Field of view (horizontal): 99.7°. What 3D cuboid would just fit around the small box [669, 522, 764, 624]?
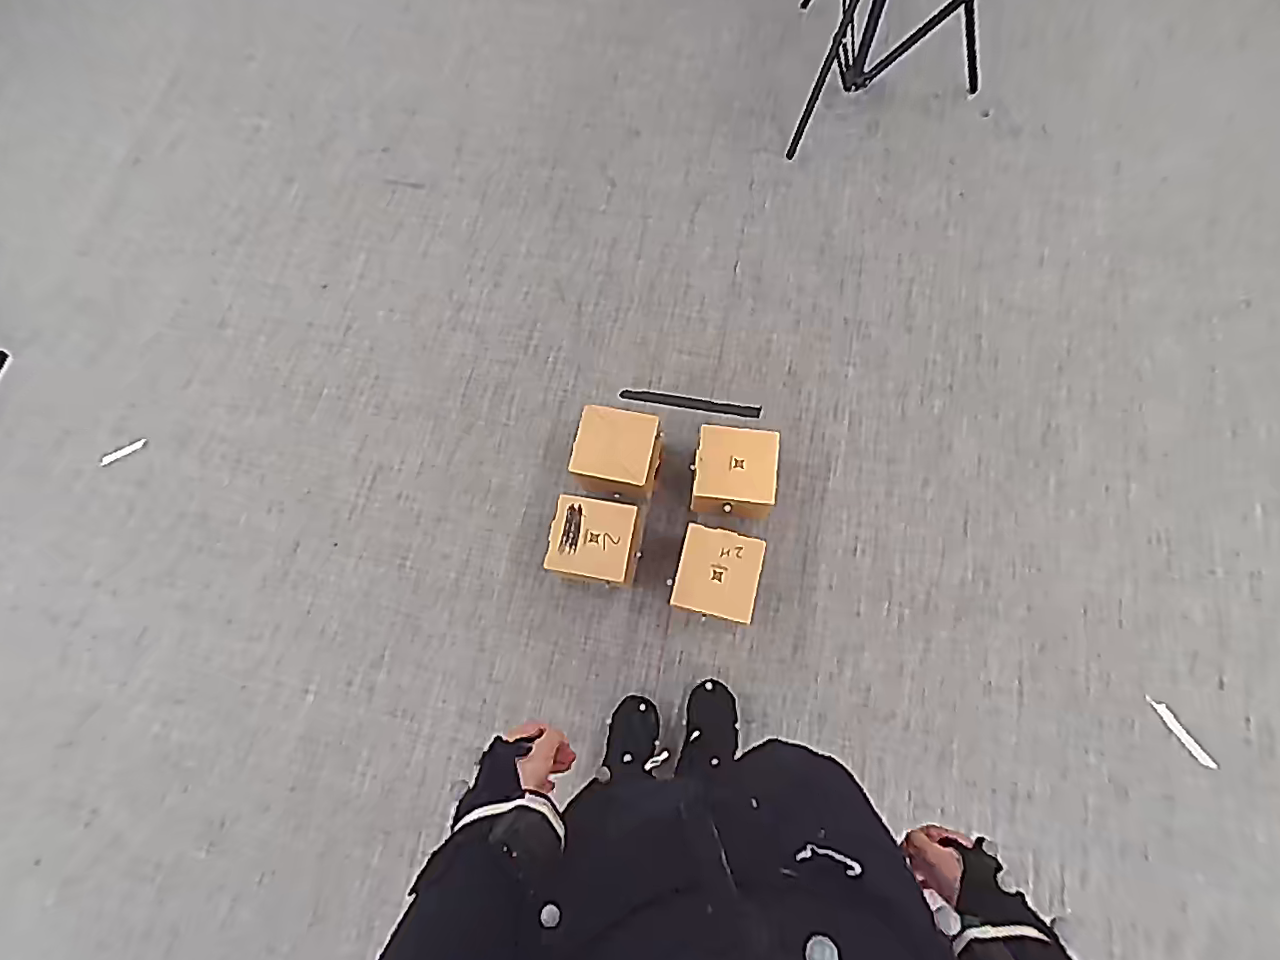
[{"bbox_3d":[0.165,0.209,1.187,0.168,0.176,0.179,14,76,7],"label":"small box"}]

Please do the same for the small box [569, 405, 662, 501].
[{"bbox_3d":[-0.052,-0.060,1.275,0.179,0.176,0.168,11,75,7],"label":"small box"}]
